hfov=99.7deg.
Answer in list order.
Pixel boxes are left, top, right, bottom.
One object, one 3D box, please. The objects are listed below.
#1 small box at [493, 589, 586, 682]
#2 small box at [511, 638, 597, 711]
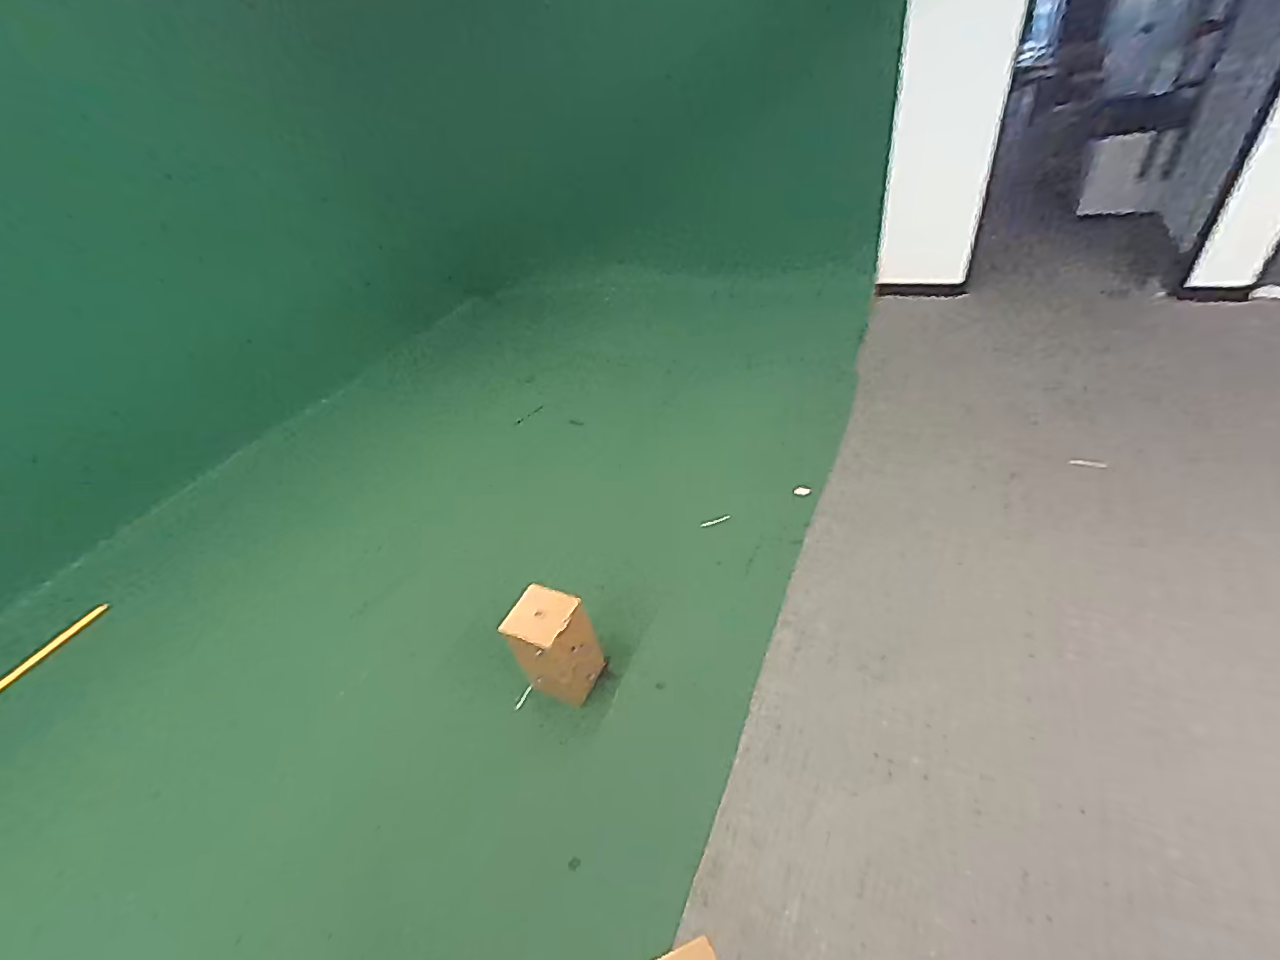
[{"bbox_3d":[-0.278,0.442,1.530,0.179,0.176,0.168,11,44,24],"label":"small box"},{"bbox_3d":[-0.254,0.566,1.632,0.179,0.176,0.168,12,45,25],"label":"small box"}]
